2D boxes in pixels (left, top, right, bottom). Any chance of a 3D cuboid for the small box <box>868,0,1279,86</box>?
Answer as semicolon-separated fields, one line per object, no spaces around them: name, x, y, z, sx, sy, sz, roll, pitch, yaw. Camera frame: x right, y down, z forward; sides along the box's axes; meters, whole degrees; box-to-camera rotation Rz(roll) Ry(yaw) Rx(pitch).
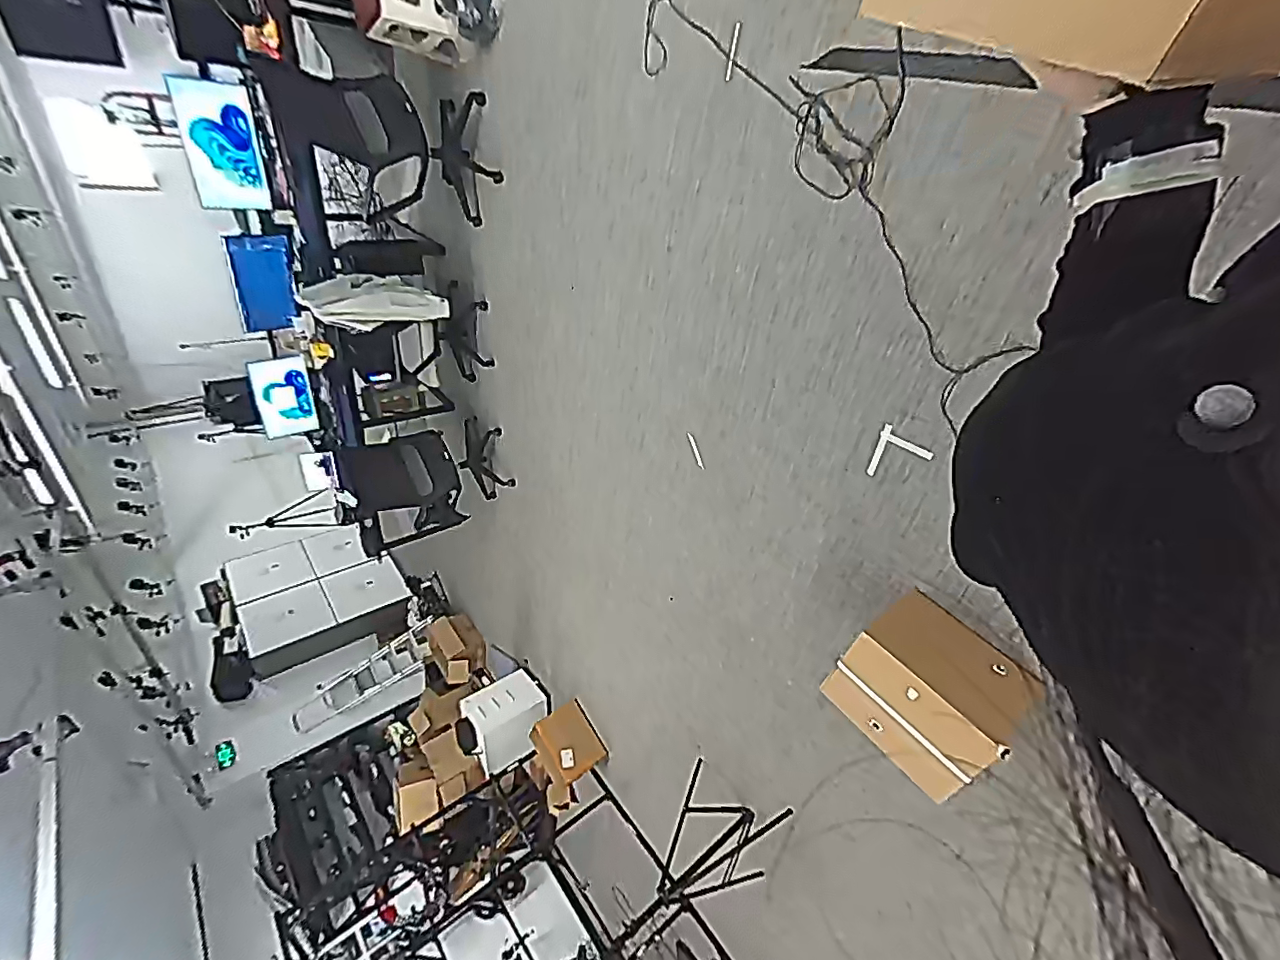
small box;0.260;-0.315;0.263;0.179;0.176;0.168;51;150;33
